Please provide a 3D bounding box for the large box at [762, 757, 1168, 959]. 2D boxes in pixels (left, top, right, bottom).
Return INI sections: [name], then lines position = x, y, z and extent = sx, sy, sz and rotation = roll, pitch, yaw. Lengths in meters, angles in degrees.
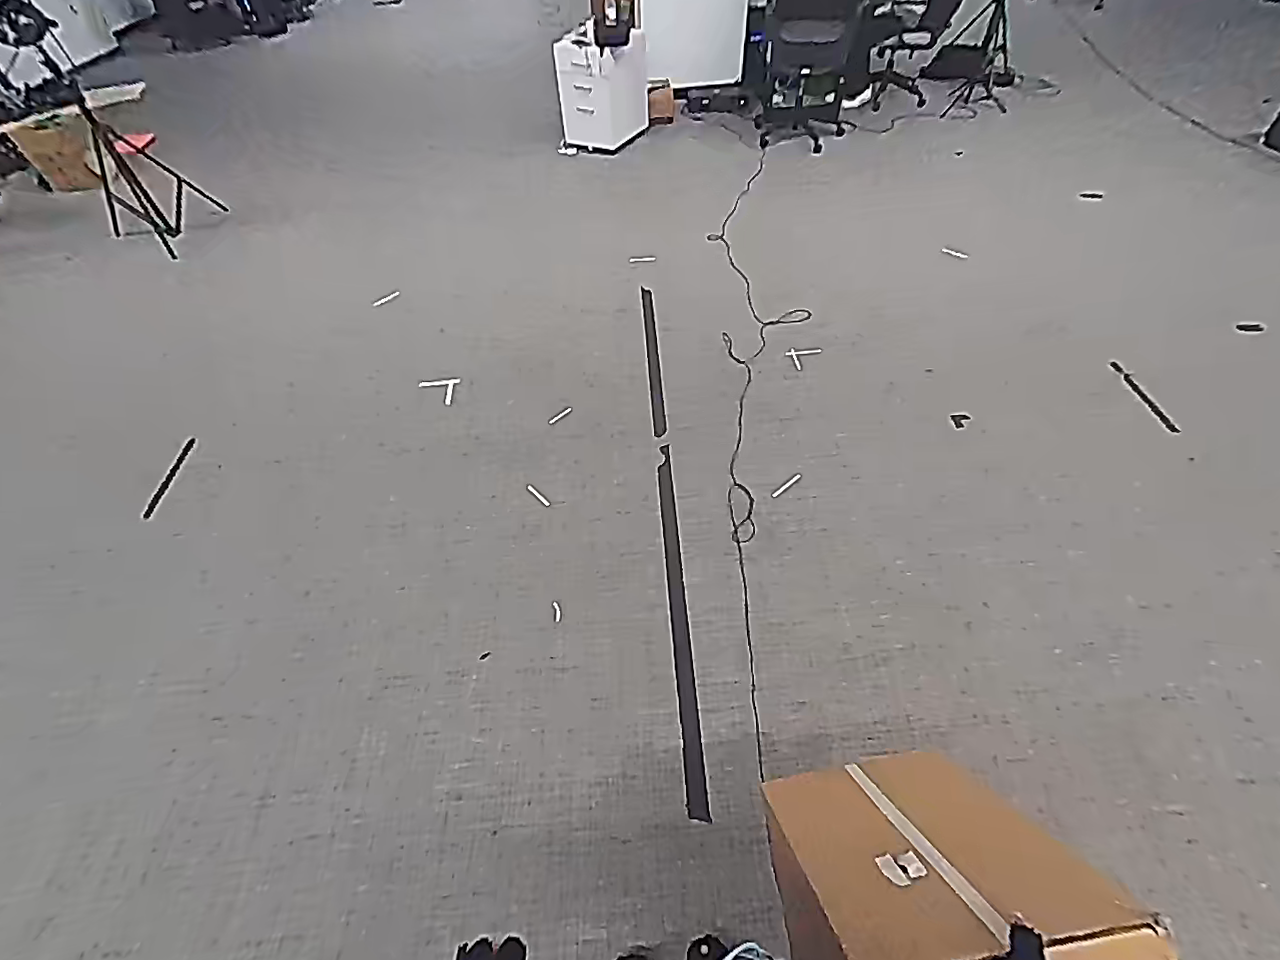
[large box]
position = 0.385, 0.631, 0.715
extent = 0.320, 0.408, 0.320
rotation = -10, 87, -2
